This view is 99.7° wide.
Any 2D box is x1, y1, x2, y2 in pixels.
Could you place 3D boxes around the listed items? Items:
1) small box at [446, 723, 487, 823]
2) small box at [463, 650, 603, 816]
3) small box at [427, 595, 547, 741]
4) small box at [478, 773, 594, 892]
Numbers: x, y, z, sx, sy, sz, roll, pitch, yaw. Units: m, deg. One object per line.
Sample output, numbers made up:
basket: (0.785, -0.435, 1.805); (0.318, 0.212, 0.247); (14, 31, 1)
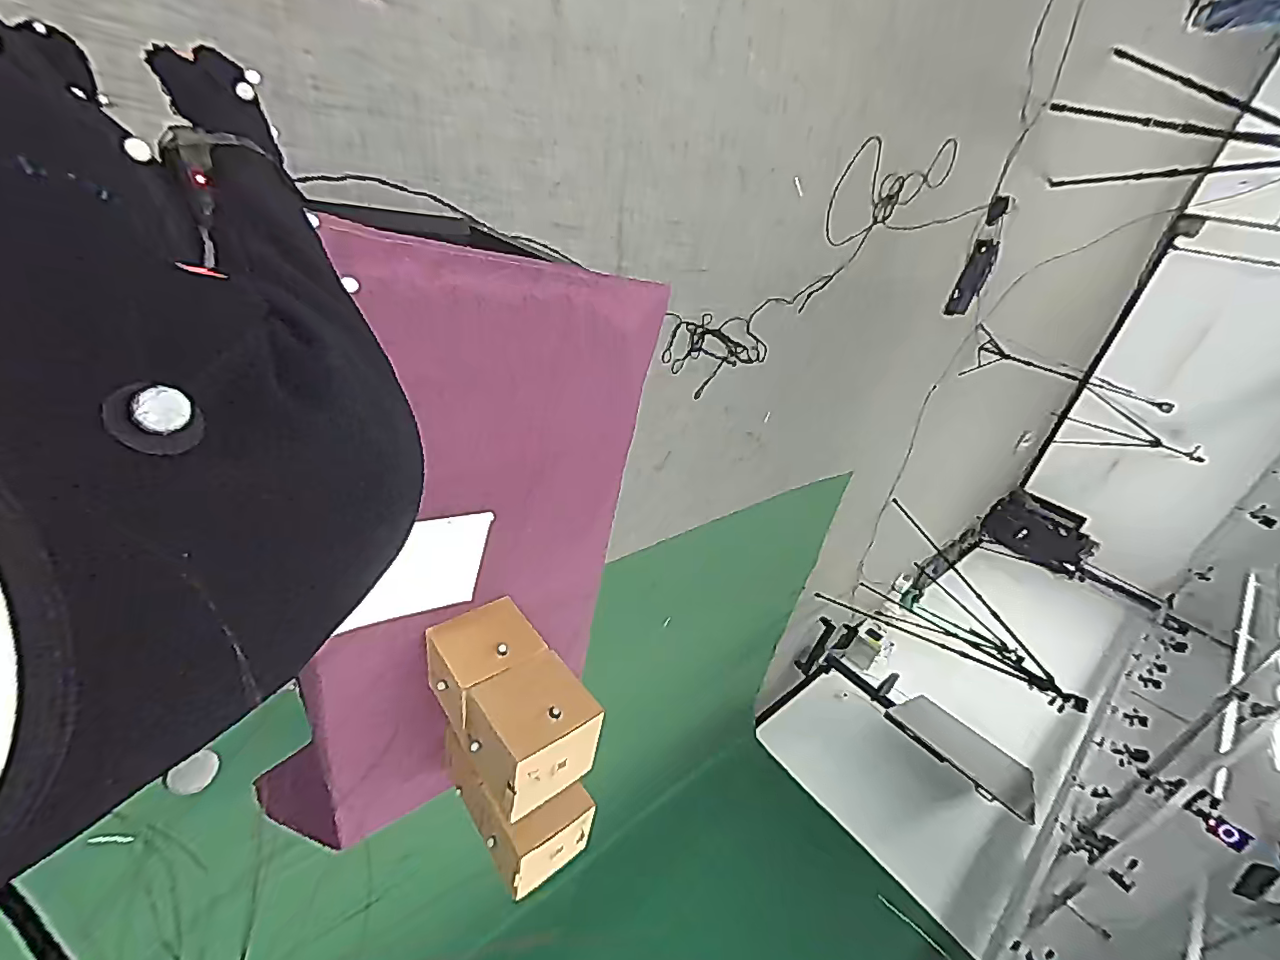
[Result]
small box: (-0.330, 0.624, 1.239); (0.179, 0.176, 0.168); (-14, 129, -40)
small box: (-0.194, 0.438, 0.966); (0.179, 0.176, 0.168); (-14, 128, -40)
small box: (-0.305, 0.359, 1.060); (0.179, 0.176, 0.168); (-18, 130, -39)
small box: (-0.225, 0.697, 1.137); (0.179, 0.176, 0.168); (-14, 129, -39)
